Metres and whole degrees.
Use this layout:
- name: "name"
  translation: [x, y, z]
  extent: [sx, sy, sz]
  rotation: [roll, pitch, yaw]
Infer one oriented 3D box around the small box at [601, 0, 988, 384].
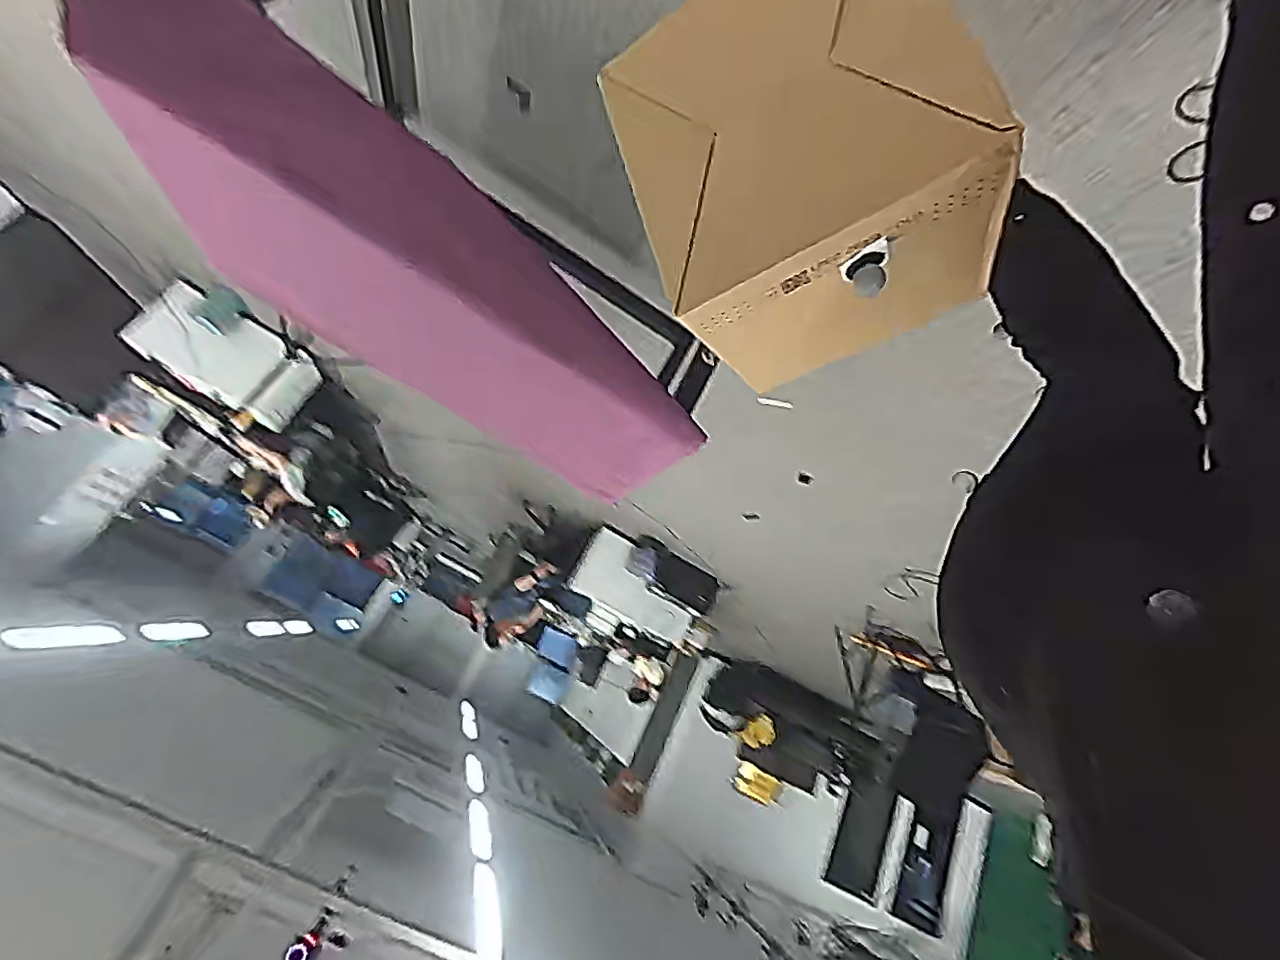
- name: "small box"
  translation: [0.096, -0.190, 0.339]
  extent: [0.168, 0.179, 0.176]
  rotation: [-22, 164, 26]
